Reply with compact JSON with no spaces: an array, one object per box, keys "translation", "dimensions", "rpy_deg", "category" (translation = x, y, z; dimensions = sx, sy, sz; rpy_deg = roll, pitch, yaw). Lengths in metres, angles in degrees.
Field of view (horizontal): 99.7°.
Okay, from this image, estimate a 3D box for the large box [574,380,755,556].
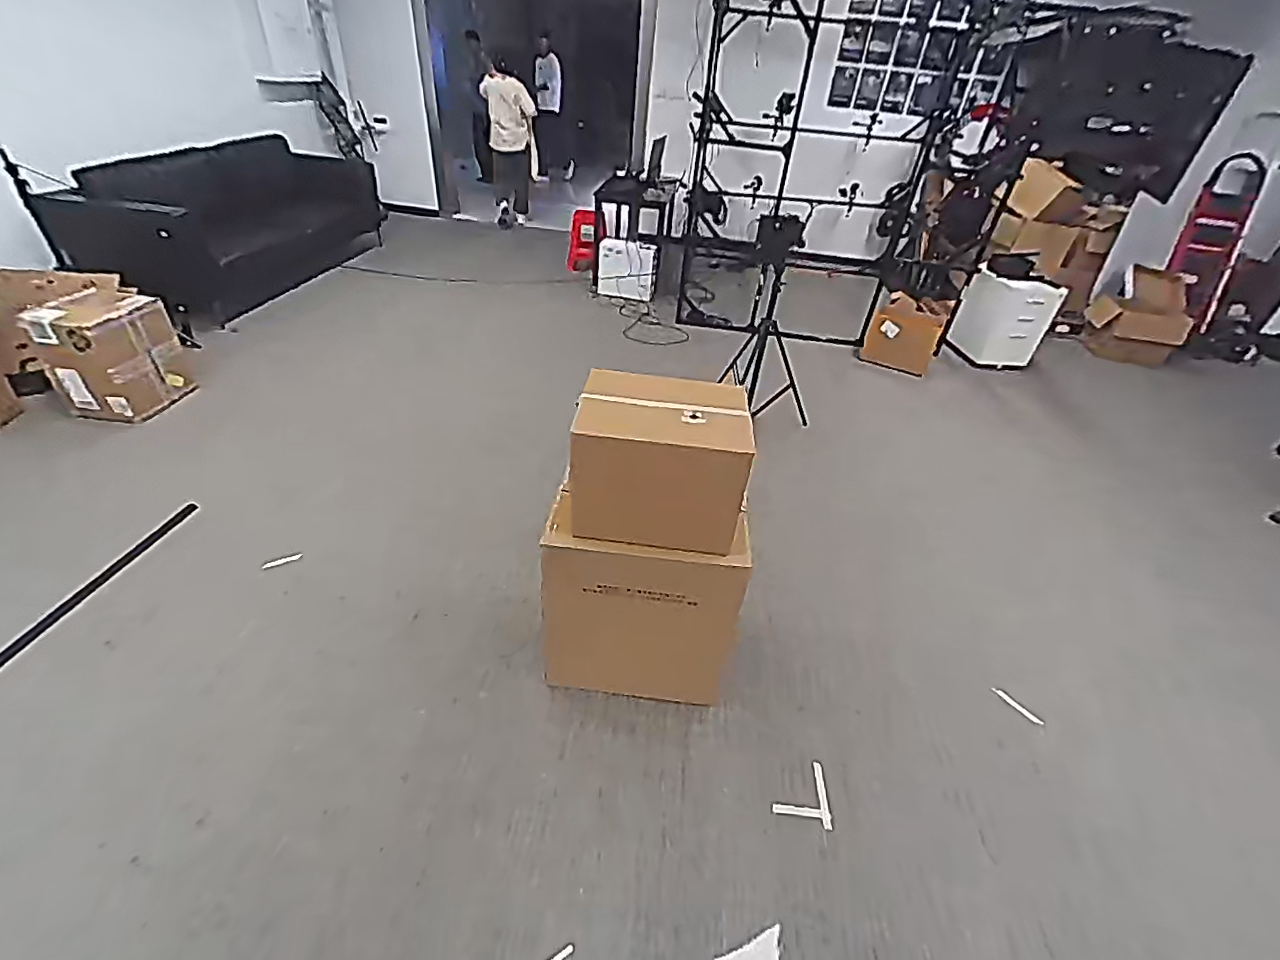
[{"translation":[0.051,-0.033,1.387],"dimensions":[0.408,0.320,0.320],"rpy_deg":[7,37,1],"category":"large box"}]
